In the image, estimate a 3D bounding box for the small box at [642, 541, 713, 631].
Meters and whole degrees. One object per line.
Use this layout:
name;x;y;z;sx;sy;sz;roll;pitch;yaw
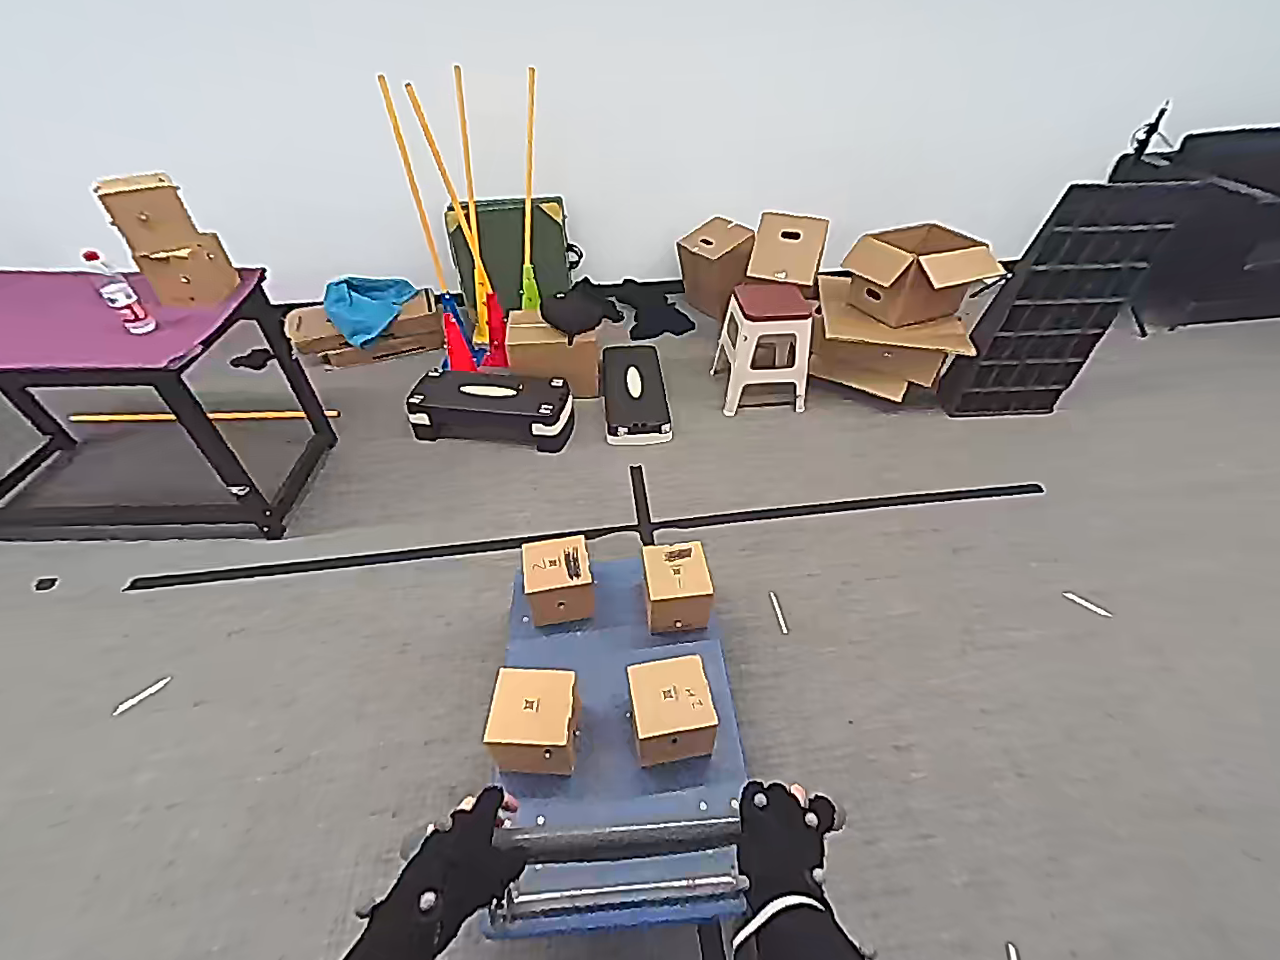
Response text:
small box;0.096;0.291;1.482;0.168;0.176;0.179;-5;45;-5

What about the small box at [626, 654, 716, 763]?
small box;0.066;0.526;1.238;0.179;0.176;0.168;-7;45;-7

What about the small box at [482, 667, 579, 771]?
small box;-0.237;0.542;1.222;0.179;0.176;0.168;3;44;0
